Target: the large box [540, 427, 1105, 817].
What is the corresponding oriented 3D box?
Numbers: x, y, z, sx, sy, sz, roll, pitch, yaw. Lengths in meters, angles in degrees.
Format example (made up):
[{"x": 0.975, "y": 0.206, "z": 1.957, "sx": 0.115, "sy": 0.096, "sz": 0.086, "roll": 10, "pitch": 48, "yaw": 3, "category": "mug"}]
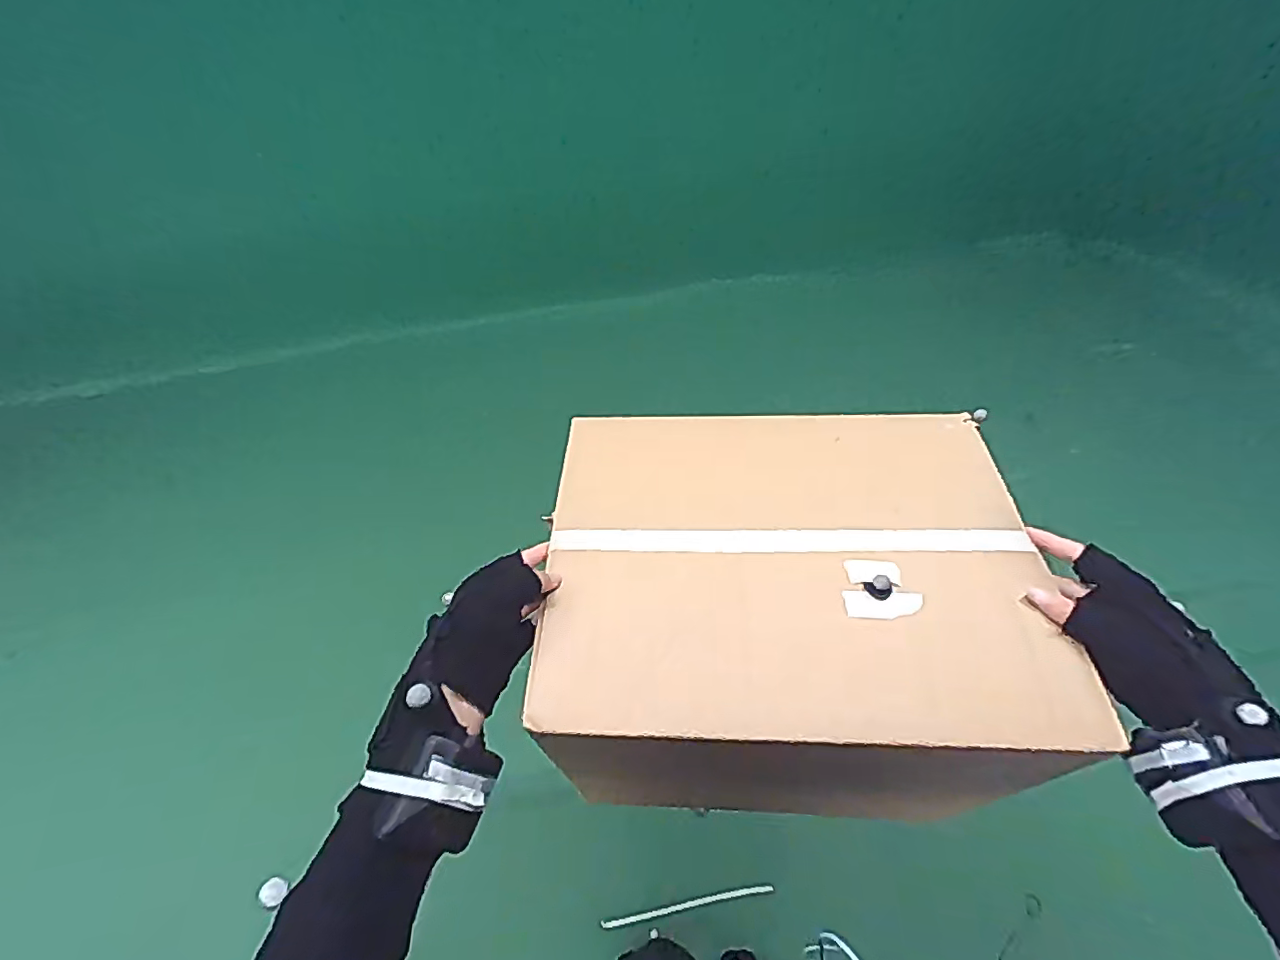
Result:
[{"x": 0.136, "y": 0.160, "z": 0.589, "sx": 0.408, "sy": 0.320, "sz": 0.320, "roll": 0, "pitch": 51, "yaw": 5, "category": "large box"}]
